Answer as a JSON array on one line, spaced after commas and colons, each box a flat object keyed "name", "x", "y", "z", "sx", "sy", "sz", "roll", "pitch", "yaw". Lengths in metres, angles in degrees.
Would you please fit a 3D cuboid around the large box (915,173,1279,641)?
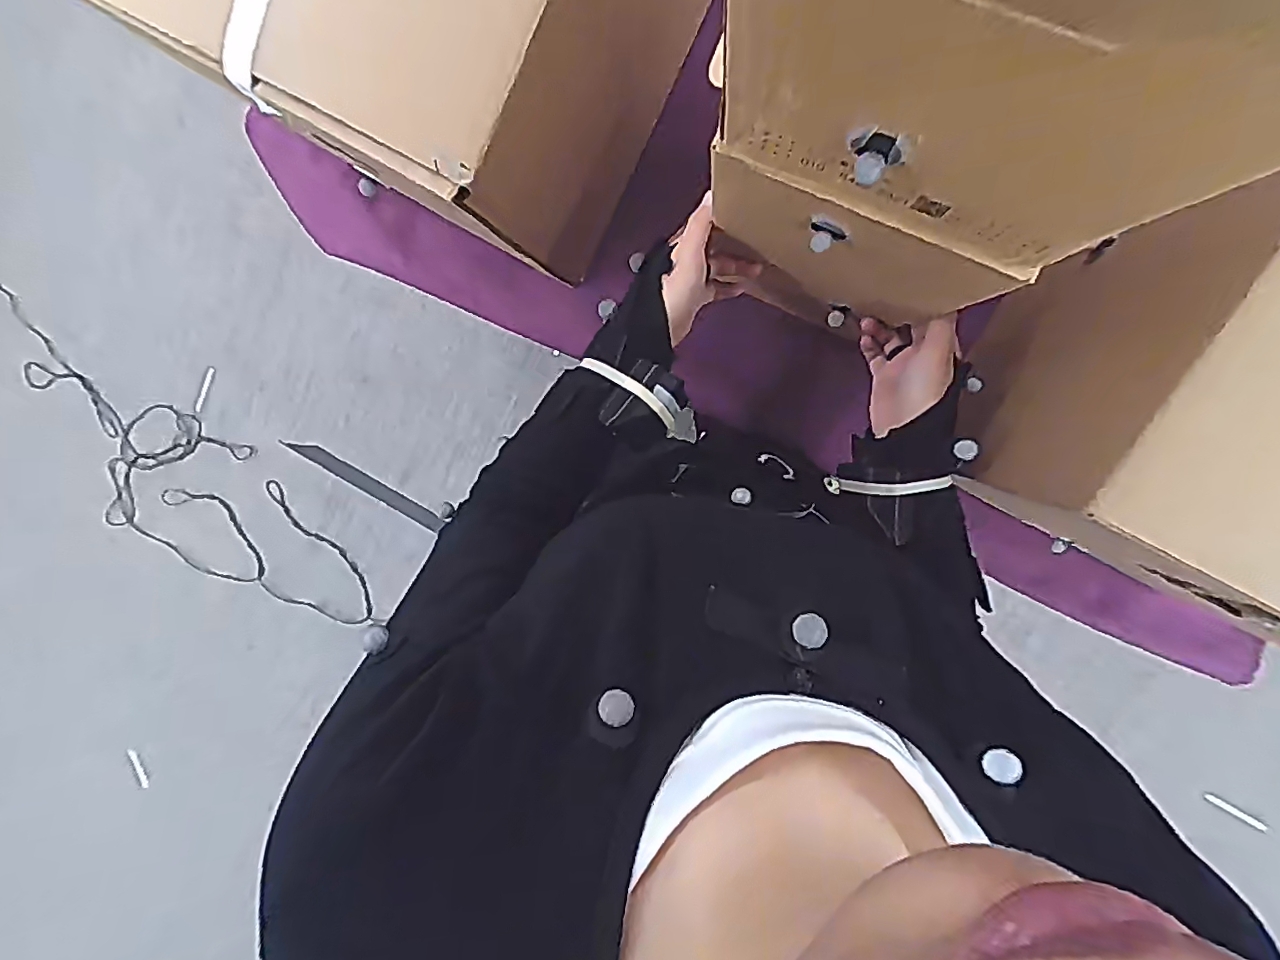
[{"name": "large box", "x": 0.488, "y": -0.101, "z": 0.394, "sx": 0.320, "sy": 0.320, "sz": 0.408, "roll": 28, "pitch": 101, "yaw": 3}]

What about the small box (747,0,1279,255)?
[{"name": "small box", "x": 0.140, "y": -0.199, "z": 0.165, "sx": 0.168, "sy": 0.176, "sz": 0.179, "roll": 24, "pitch": 102, "yaw": 4}]
